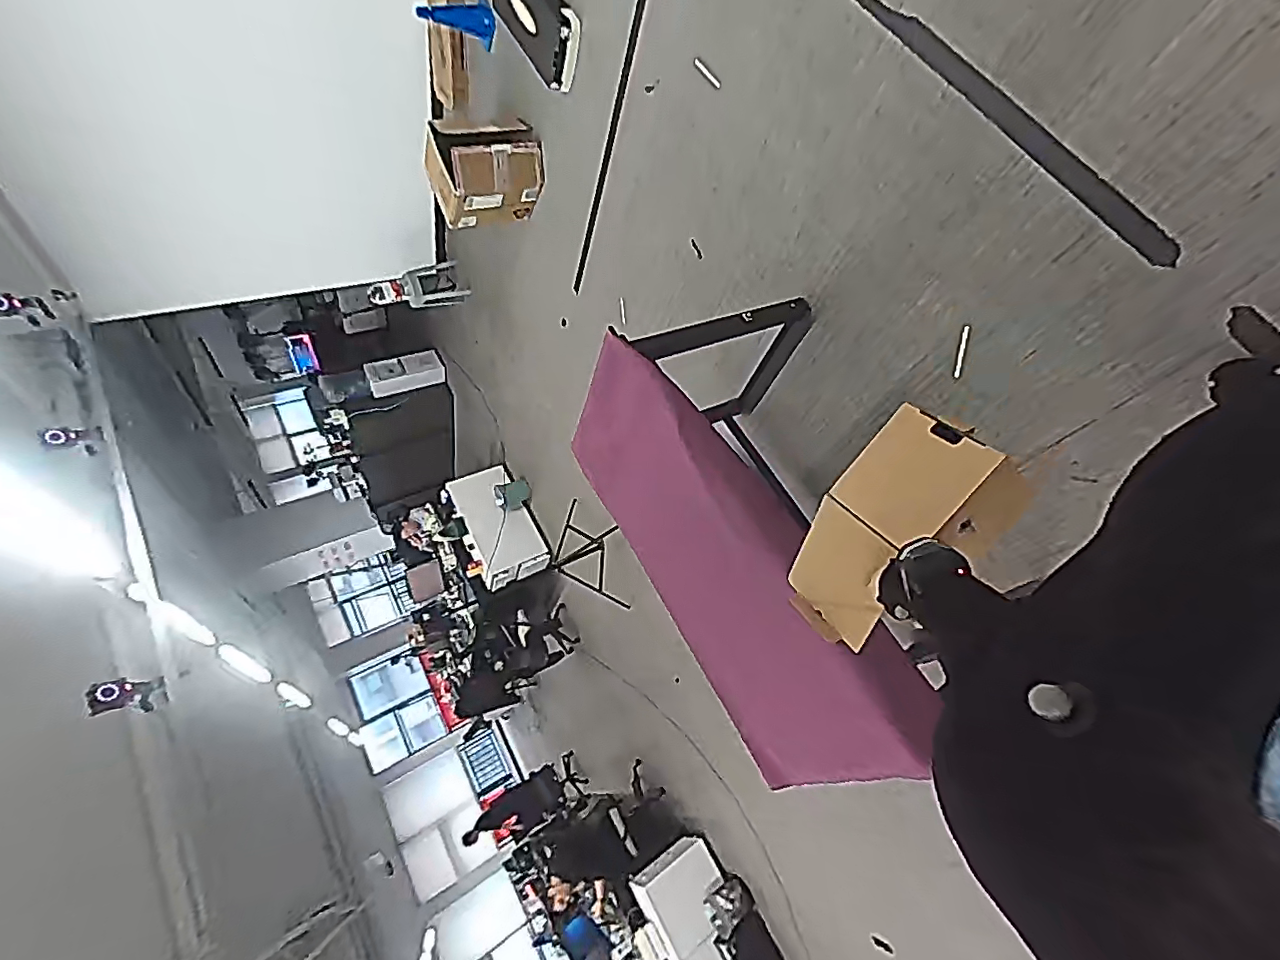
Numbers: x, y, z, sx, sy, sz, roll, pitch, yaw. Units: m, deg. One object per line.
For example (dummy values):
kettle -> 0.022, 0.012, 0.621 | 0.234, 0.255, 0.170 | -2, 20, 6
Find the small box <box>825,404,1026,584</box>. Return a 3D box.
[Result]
small box -> 0.417, 0.027, 0.788 | 0.179, 0.176, 0.168 | -53, 41, 12
